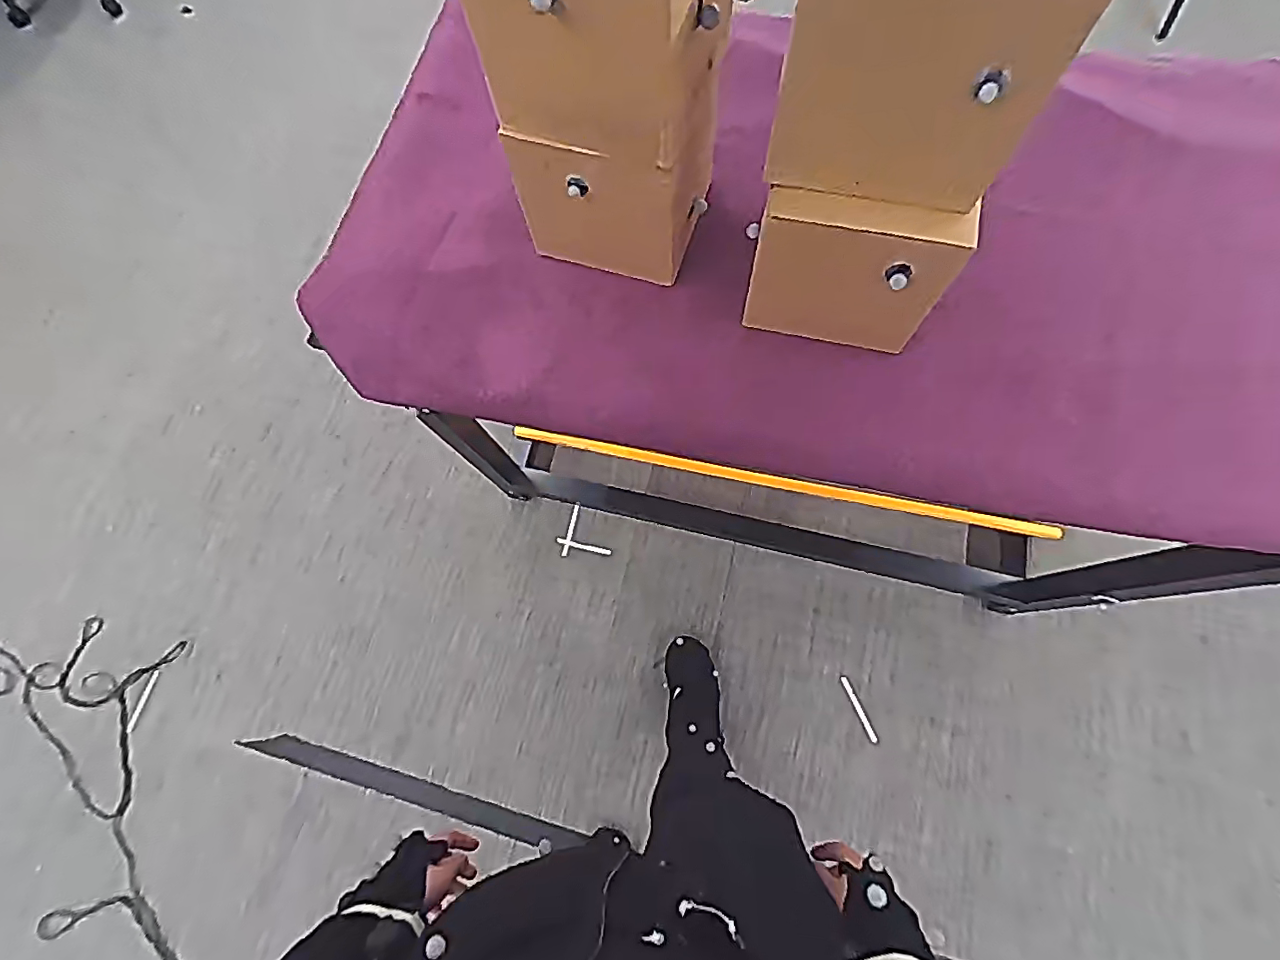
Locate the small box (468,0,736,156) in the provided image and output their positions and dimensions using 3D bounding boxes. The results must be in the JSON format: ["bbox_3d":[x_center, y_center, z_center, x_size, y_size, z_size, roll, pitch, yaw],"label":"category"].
[{"bbox_3d":[-0.022,-0.405,0.442,0.179,0.176,0.168,20,75,10],"label":"small box"}]

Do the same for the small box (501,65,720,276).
[{"bbox_3d":[-0.023,-0.355,0.598,0.179,0.176,0.168,17,75,8],"label":"small box"}]

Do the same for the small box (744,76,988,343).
[{"bbox_3d":[0.215,-0.262,0.553,0.179,0.176,0.168,13,73,8],"label":"small box"}]
